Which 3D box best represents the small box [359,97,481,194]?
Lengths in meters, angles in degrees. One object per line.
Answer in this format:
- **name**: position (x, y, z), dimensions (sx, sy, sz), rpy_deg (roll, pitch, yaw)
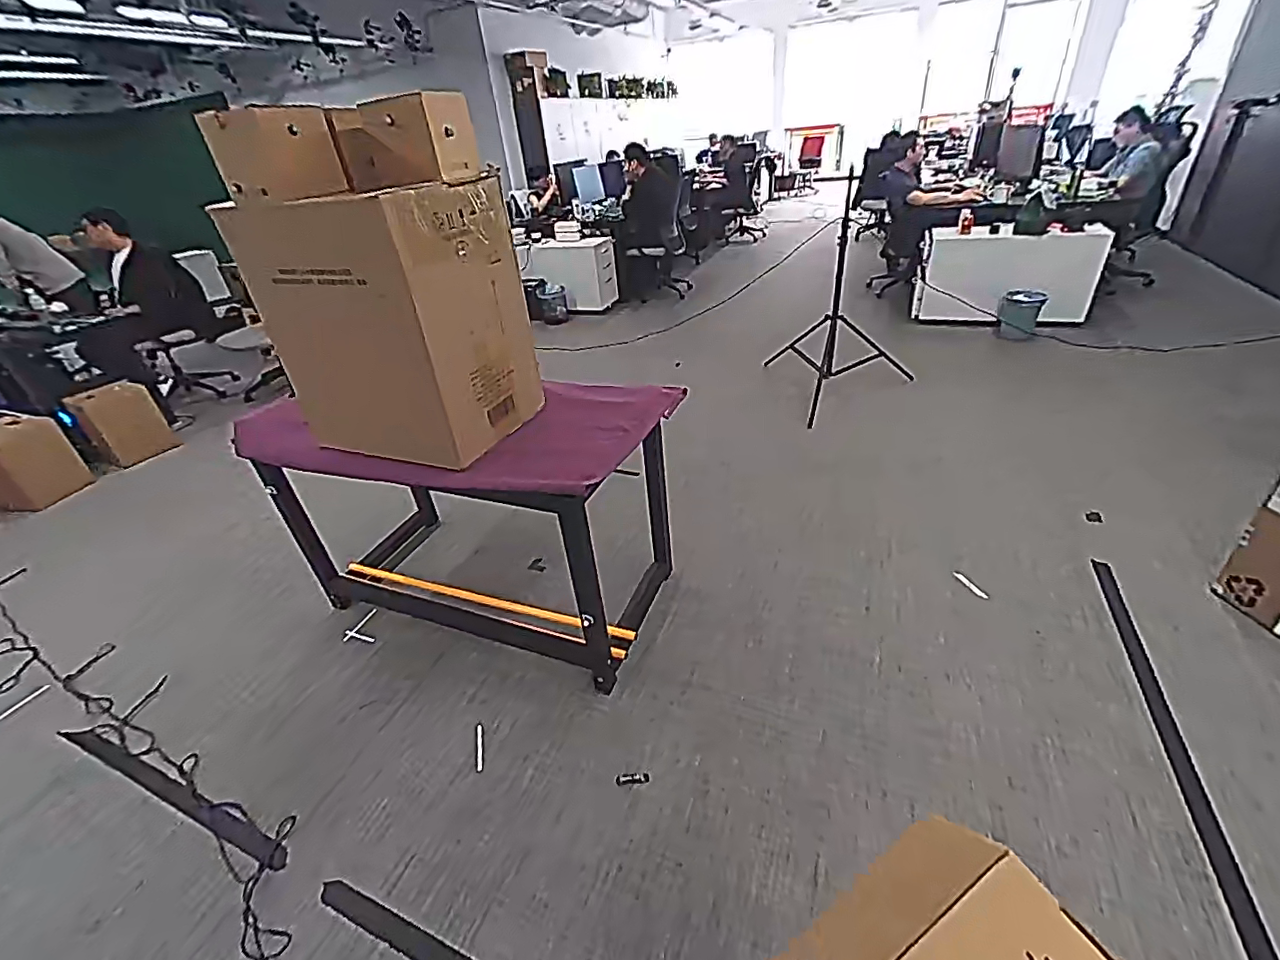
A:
- **small box**: position (-0.497, -0.775, 1.253), dimensions (0.179, 0.176, 0.168), rpy_deg (4, 34, 19)
